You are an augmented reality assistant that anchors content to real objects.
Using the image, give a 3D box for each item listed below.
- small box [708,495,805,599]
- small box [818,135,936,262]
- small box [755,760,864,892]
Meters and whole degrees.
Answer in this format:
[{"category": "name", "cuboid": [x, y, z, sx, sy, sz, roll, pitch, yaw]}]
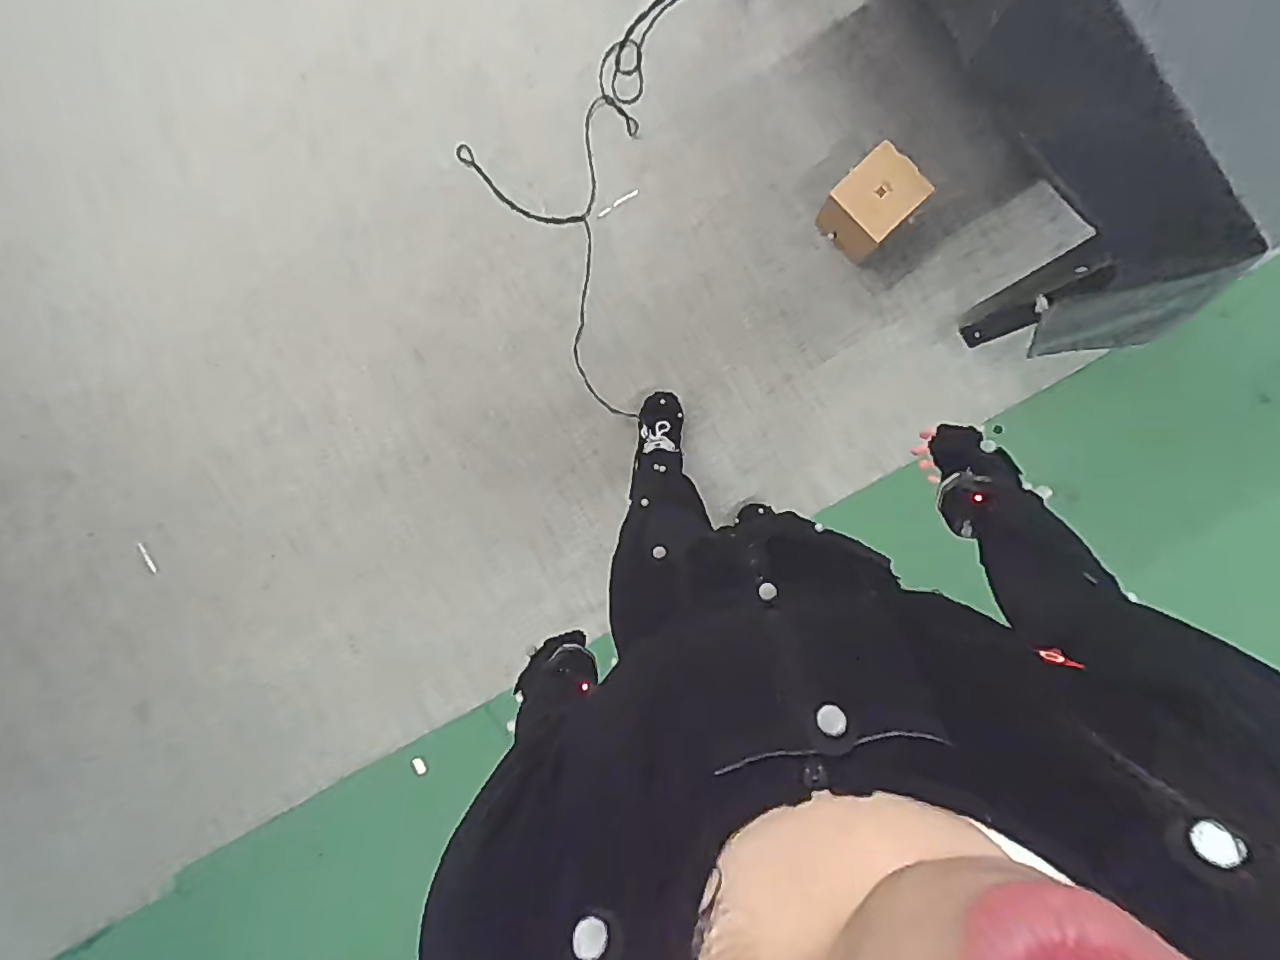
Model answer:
[{"category": "small box", "cuboid": [0.289, 0.175, 1.393, 0.179, 0.176, 0.168, -31, 60, -16]}, {"category": "small box", "cuboid": [0.562, -0.671, 1.311, 0.179, 0.176, 0.168, -43, 89, 5]}, {"category": "small box", "cuboid": [0.382, 0.785, 1.254, 0.168, 0.176, 0.179, -29, 91, 7]}]
